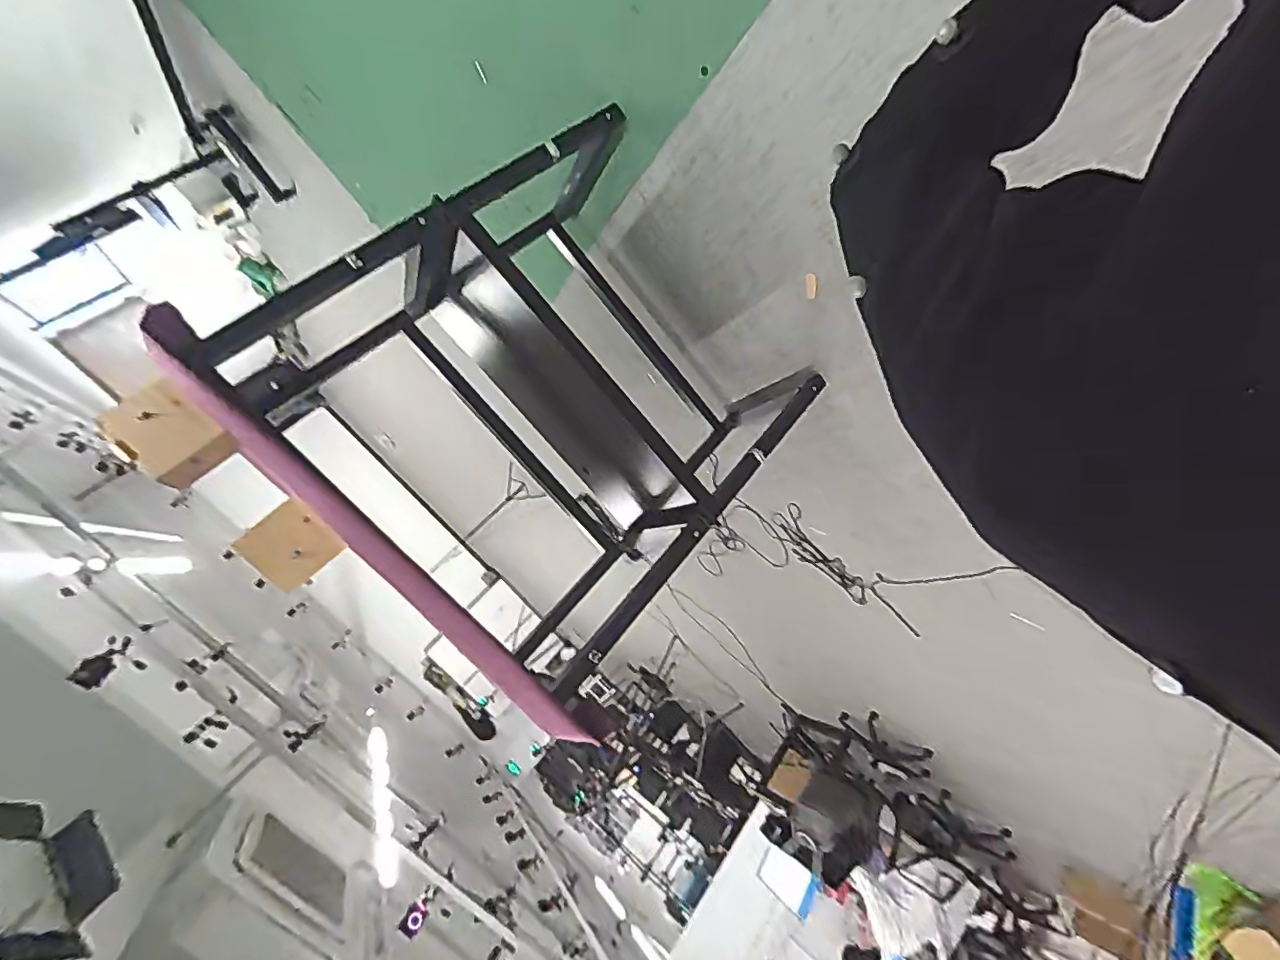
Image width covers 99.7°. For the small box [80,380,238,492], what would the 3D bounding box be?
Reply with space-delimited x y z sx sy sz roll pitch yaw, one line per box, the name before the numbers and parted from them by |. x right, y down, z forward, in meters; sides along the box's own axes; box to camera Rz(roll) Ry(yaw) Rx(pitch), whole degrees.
small box | -1.048 -0.096 1.199 0.168 0.176 0.179 48 157 -11

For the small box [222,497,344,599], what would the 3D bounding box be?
small box | -0.821 0.151 1.264 0.168 0.176 0.179 51 156 -17
